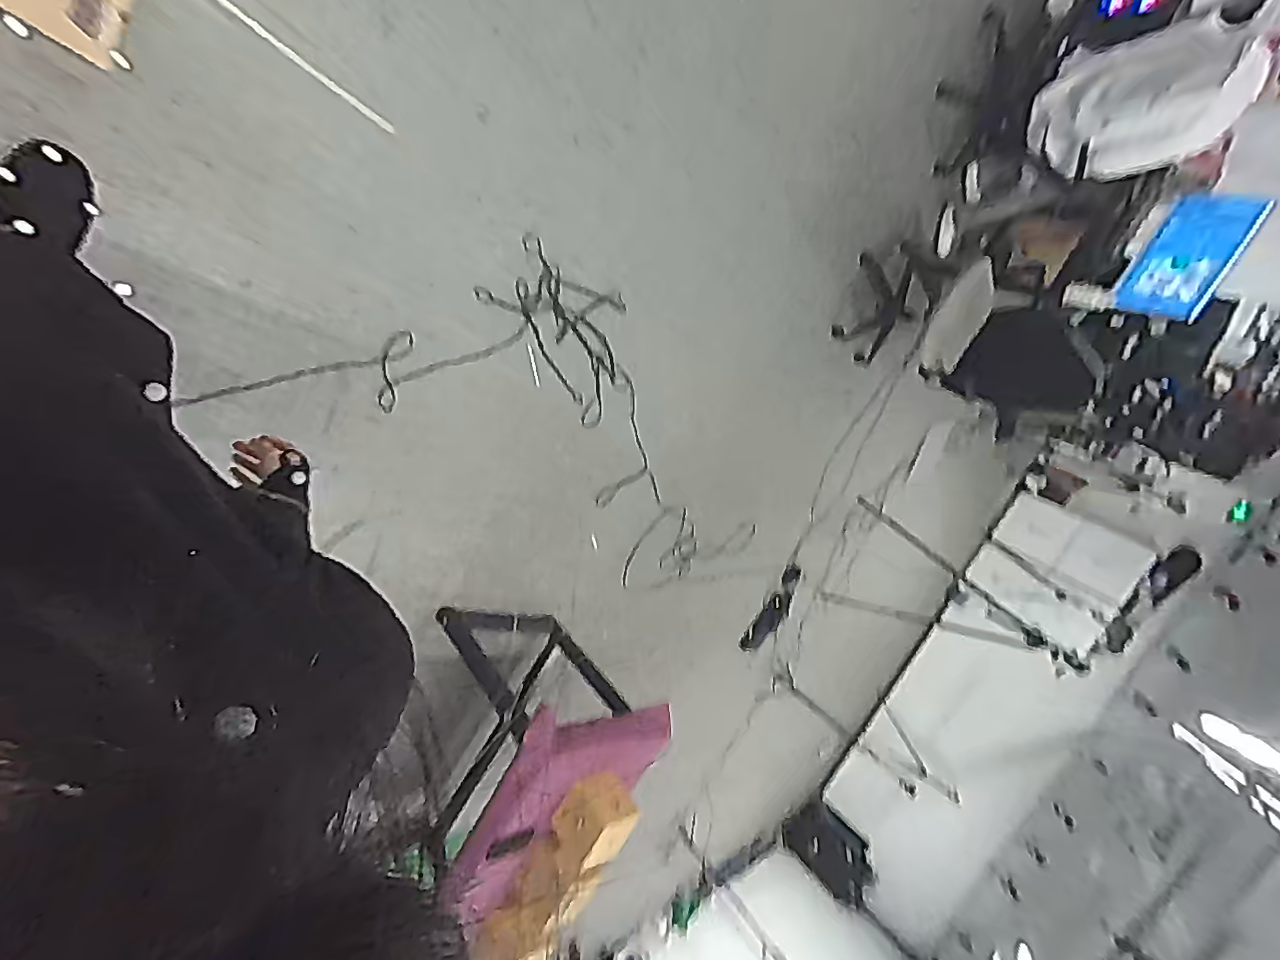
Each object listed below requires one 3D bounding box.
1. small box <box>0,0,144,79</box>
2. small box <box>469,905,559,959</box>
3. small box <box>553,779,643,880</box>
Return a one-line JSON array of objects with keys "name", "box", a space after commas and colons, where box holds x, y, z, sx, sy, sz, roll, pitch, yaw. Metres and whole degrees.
[{"name": "small box", "box": [-0.856, -0.726, 0.783, 0.179, 0.176, 0.168, 22, 99, -50]}, {"name": "small box", "box": [-0.393, 1.470, 1.666, 0.168, 0.176, 0.179, -56, 141, 2]}, {"name": "small box", "box": [-0.132, 1.044, 1.632, 0.179, 0.176, 0.168, 21, 101, -51]}]
